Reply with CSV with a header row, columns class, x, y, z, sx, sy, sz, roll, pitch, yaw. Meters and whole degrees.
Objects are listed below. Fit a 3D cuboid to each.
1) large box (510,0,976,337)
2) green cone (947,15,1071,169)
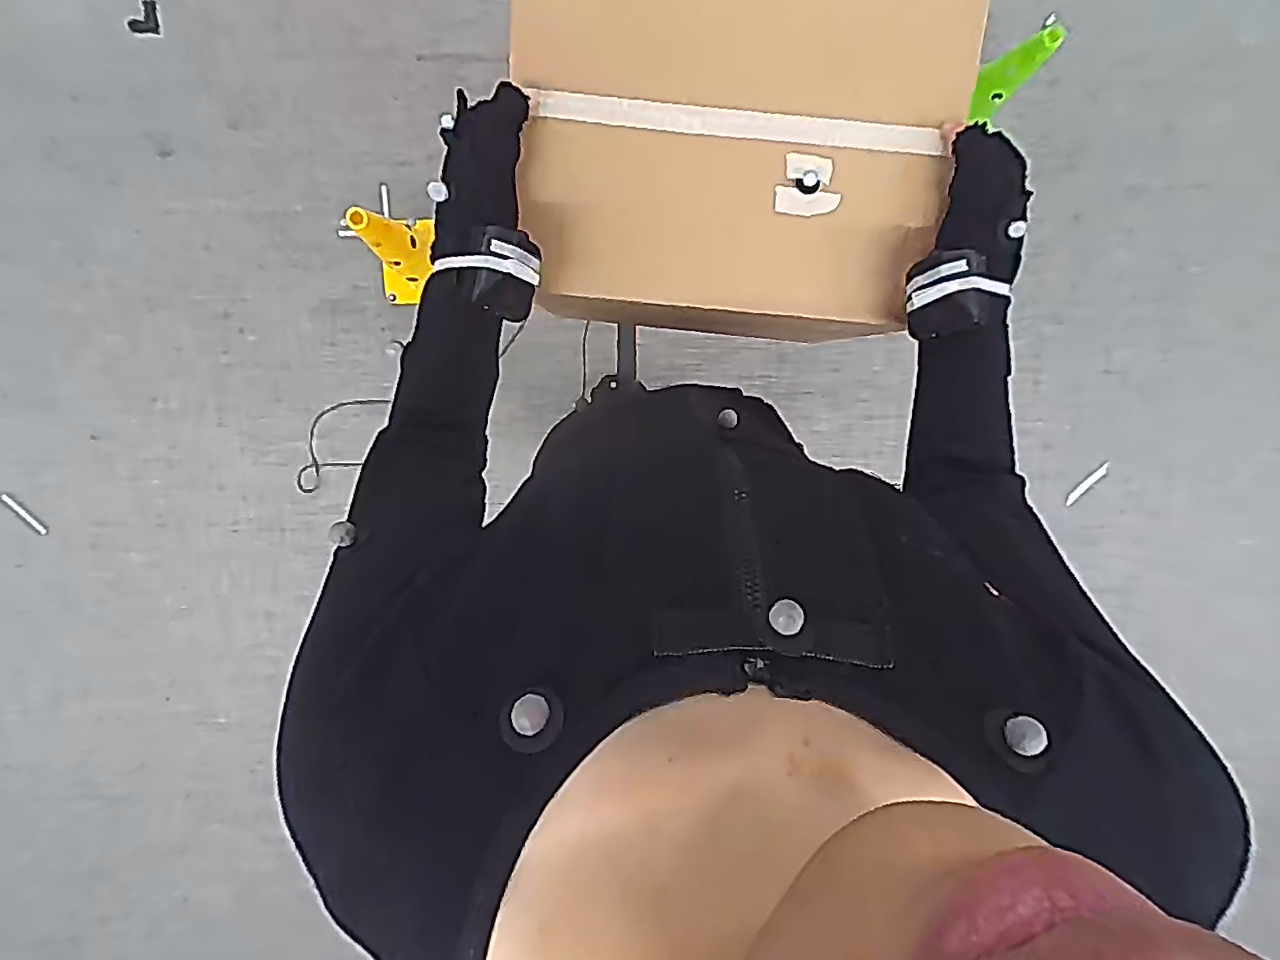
class,x,y,z,sx,sy,sz,roll,pitch,yaw
large box,0.081,-0.347,0.629,0.408,0.320,0.320,5,102,-2
green cone,0.770,-0.868,1.183,0.202,0.368,0.200,-38,100,3
